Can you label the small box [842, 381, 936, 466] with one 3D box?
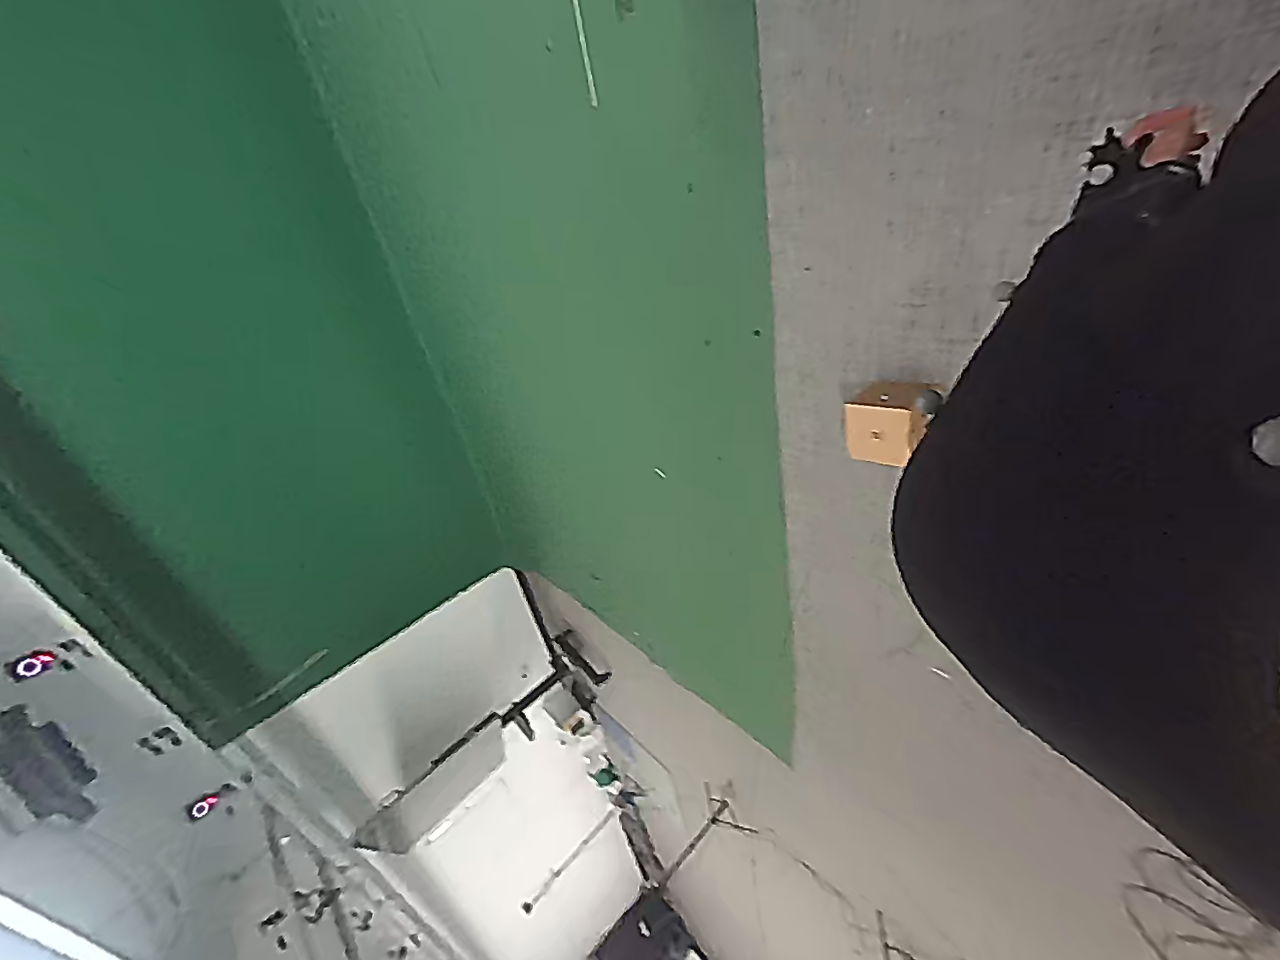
[{"bbox_3d":[0.673,-0.158,1.451,0.179,0.176,0.168,17,130,49],"label":"small box"}]
